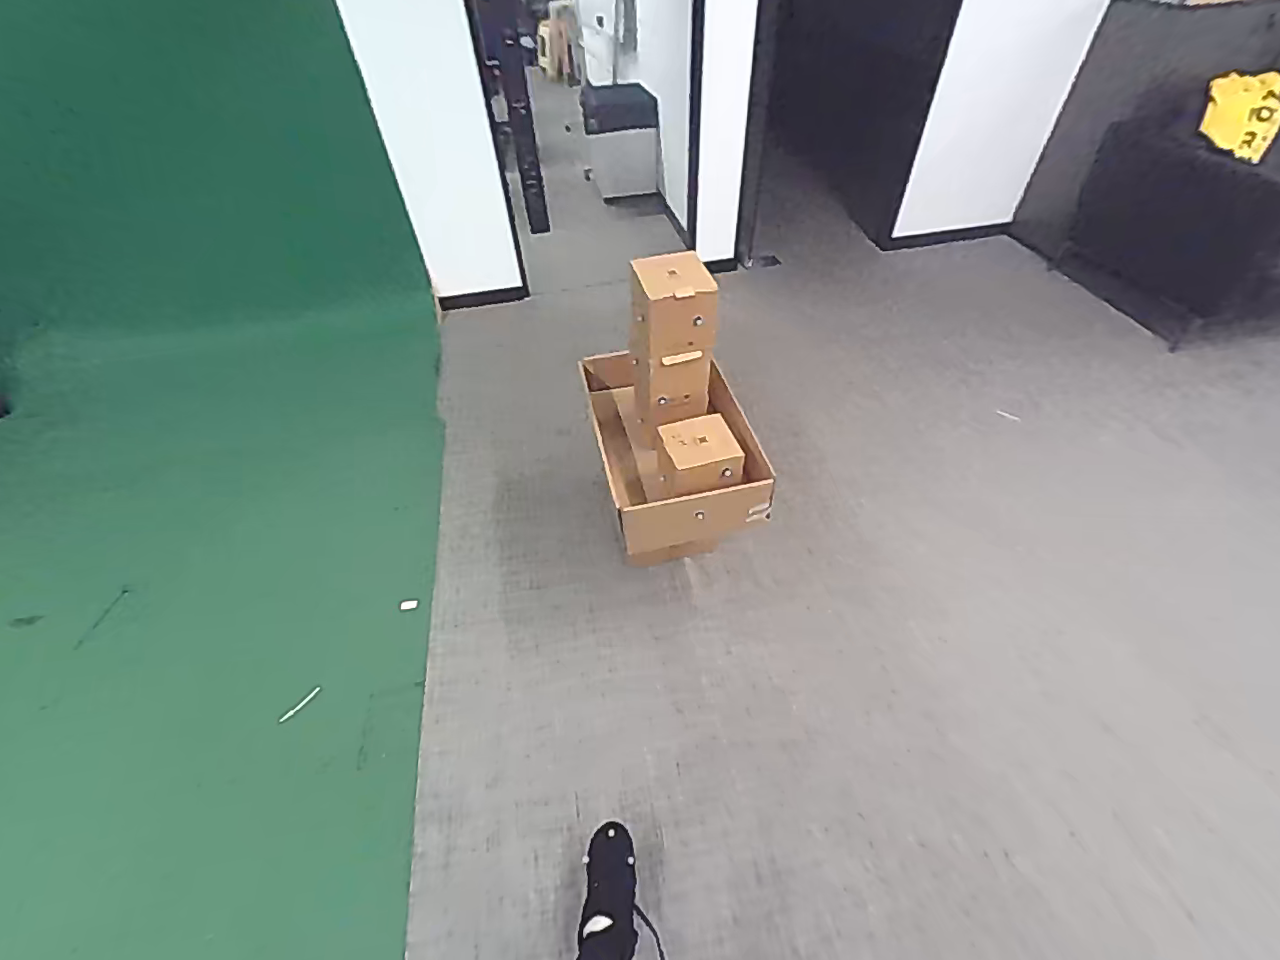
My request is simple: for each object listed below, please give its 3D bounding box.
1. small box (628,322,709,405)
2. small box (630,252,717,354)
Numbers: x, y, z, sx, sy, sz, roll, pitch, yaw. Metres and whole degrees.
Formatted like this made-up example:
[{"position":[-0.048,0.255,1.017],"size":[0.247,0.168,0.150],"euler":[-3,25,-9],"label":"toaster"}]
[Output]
[{"position":[0.073,-0.316,1.434],"size":[0.168,0.176,0.179],"euler":[-14,51,-11],"label":"small box"},{"position":[0.077,-0.421,1.309],"size":[0.168,0.176,0.179],"euler":[-12,51,-9],"label":"small box"}]
